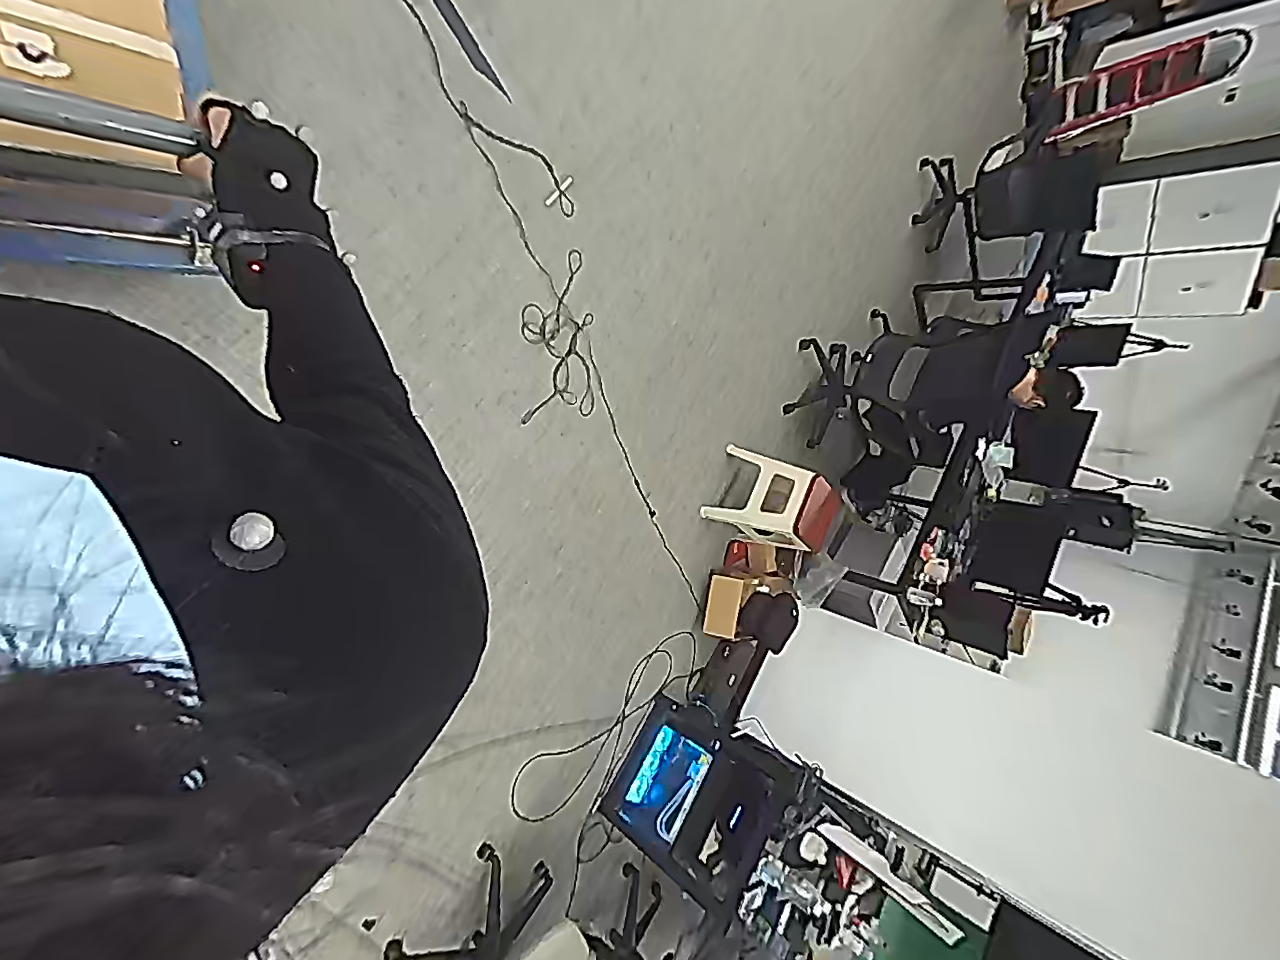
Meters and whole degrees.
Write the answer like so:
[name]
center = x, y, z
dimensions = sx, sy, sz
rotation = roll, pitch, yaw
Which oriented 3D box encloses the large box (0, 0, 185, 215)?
[large box]
center = -0.887, -0.558, 0.688
dimensions = 0.408, 0.320, 0.320
rotation = -13, 111, -46
